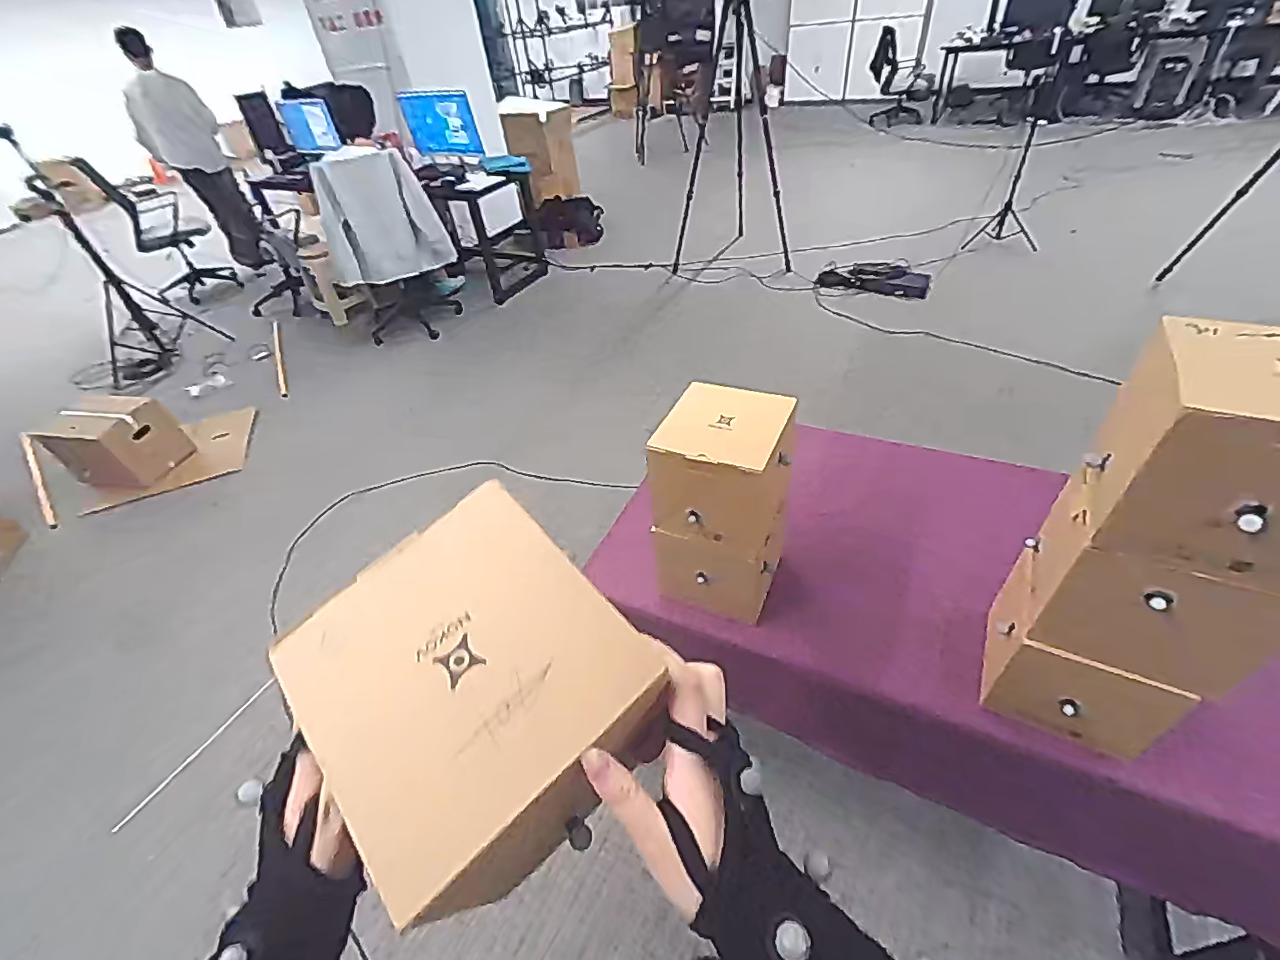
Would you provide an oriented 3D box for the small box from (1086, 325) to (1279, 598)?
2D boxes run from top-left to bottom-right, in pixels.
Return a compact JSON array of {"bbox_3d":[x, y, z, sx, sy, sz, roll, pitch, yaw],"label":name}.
[{"bbox_3d":[0.552,-0.020,0.505,0.168,0.176,0.179,17,48,25],"label":"small box"}]

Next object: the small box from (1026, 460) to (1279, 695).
[{"bbox_3d":[0.565,0.108,0.608,0.179,0.176,0.168,18,48,25],"label":"small box"}]

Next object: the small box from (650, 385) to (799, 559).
[{"bbox_3d":[0.128,-0.015,0.810,0.168,0.176,0.179,14,46,23],"label":"small box"}]

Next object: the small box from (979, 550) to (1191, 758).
[{"bbox_3d":[0.572,0.230,0.719,0.168,0.176,0.179,17,47,25],"label":"small box"}]

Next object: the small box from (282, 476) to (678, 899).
[{"bbox_3d":[-0.090,0.137,0.370,0.168,0.176,0.179,-38,61,-17],"label":"small box"}]
